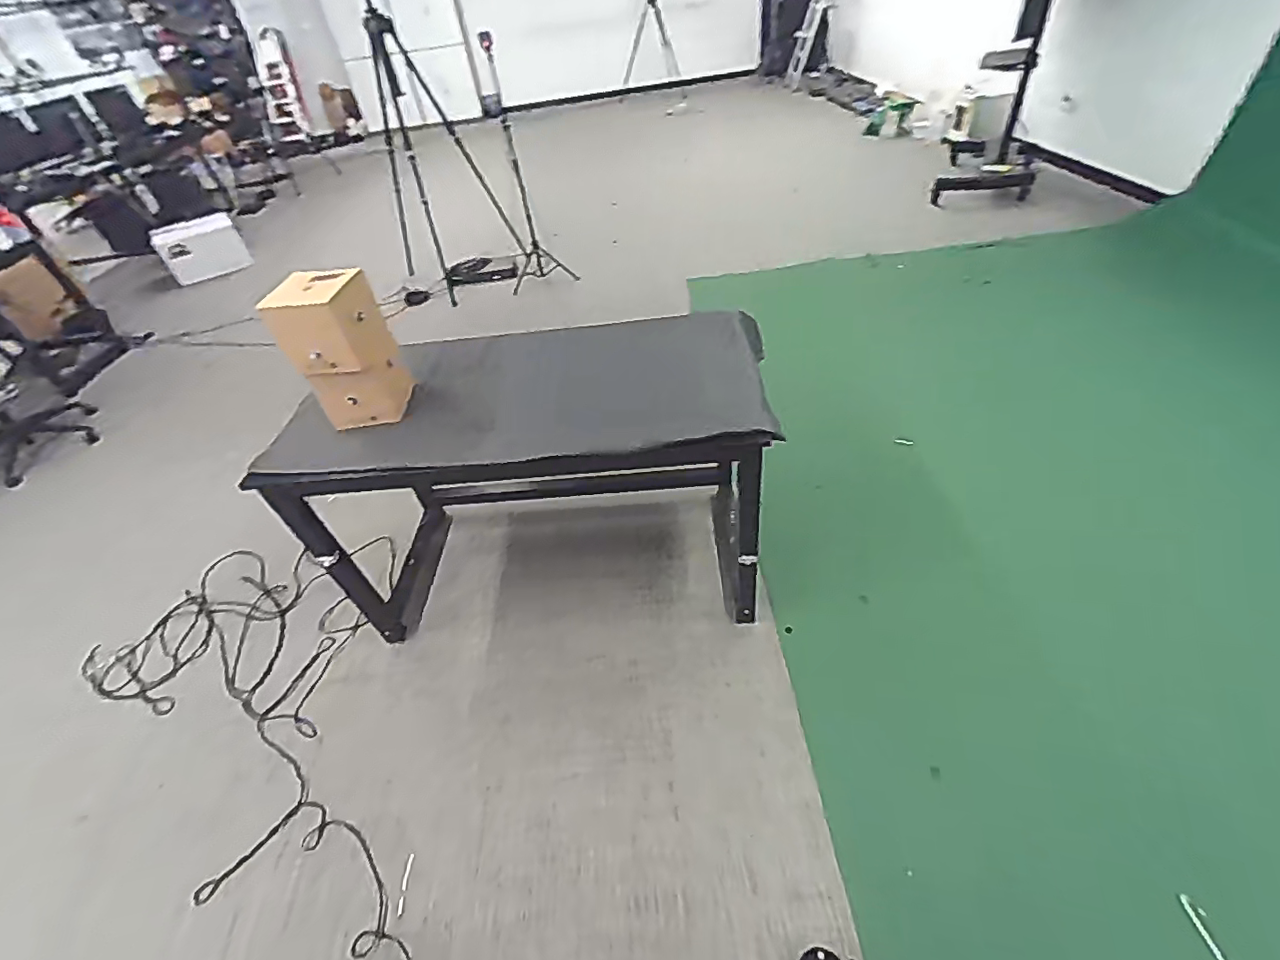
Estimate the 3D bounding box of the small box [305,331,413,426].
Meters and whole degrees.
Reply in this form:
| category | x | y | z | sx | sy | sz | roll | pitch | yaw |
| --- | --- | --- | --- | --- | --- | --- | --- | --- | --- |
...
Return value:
| category | x | y | z | sx | sy | sz | roll | pitch | yaw |
| --- | --- | --- | --- | --- | --- | --- | --- | --- | --- |
| small box | -0.692 | -0.249 | 1.356 | 0.168 | 0.176 | 0.179 | -7 | 43 | -1 |

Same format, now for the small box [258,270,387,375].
| category | x | y | z | sx | sy | sz | roll | pitch | yaw |
| --- | --- | --- | --- | --- | --- | --- | --- | --- | --- |
| small box | -0.707 | -0.358 | 1.232 | 0.168 | 0.176 | 0.179 | -2 | 44 | 5 |
